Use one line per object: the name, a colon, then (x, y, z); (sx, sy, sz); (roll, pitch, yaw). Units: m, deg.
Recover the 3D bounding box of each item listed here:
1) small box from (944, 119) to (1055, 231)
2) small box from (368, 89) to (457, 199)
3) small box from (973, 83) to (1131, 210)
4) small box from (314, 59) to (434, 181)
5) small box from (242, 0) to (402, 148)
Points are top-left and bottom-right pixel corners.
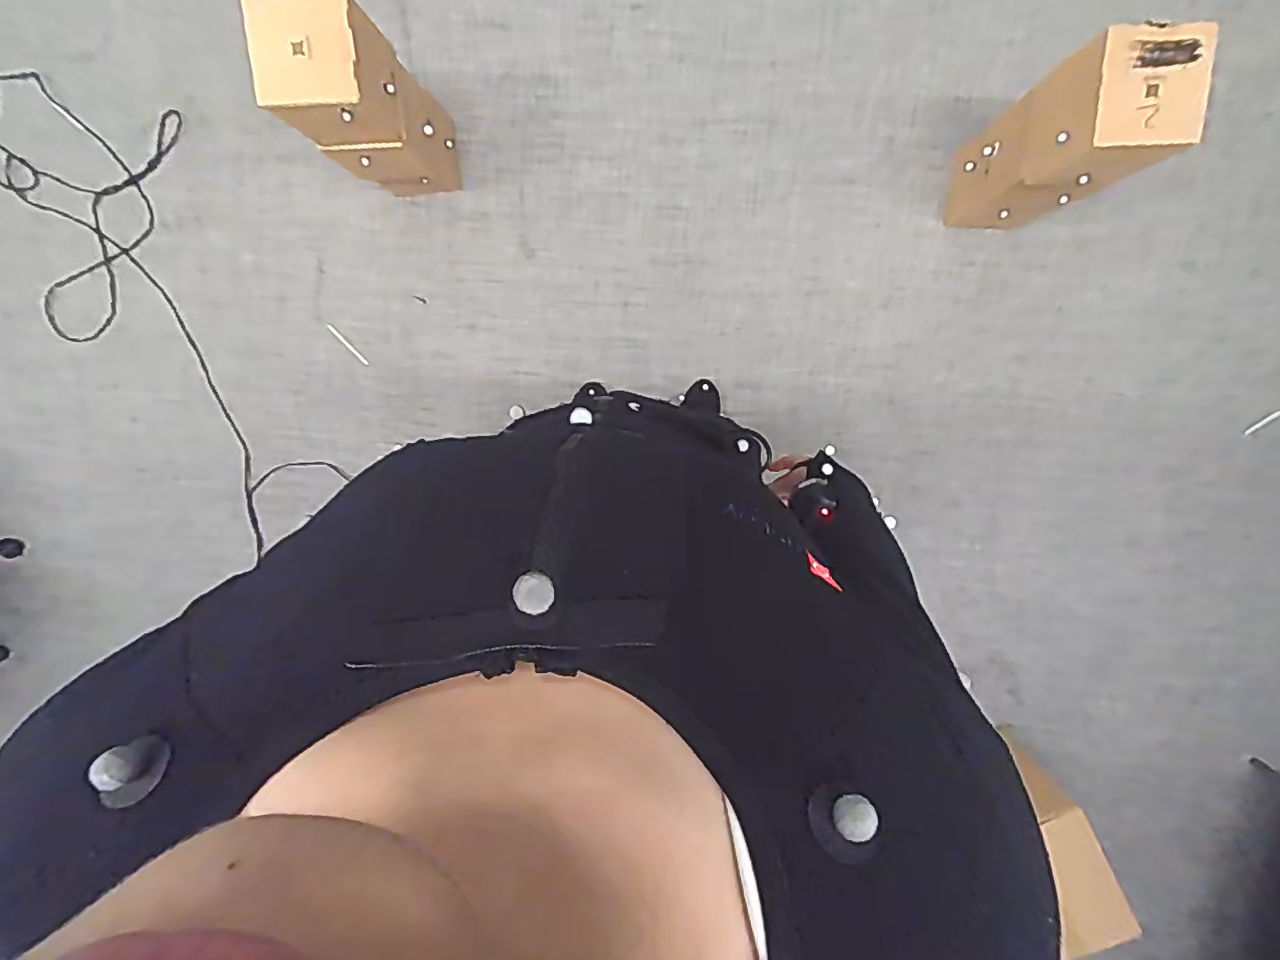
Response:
small box: (0.829, -0.692, 1.242); (0.168, 0.176, 0.179); (4, 100, 2)
small box: (-0.549, -0.787, 1.283); (0.179, 0.176, 0.168); (-5, 100, 4)
small box: (0.812, -0.657, 1.084); (0.179, 0.176, 0.168); (4, 99, 3)
small box: (-0.552, -0.740, 1.125); (0.179, 0.176, 0.168); (-1, 101, 2)
small box: (-0.555, -0.715, 0.964); (0.179, 0.176, 0.168); (-2, 101, 2)
